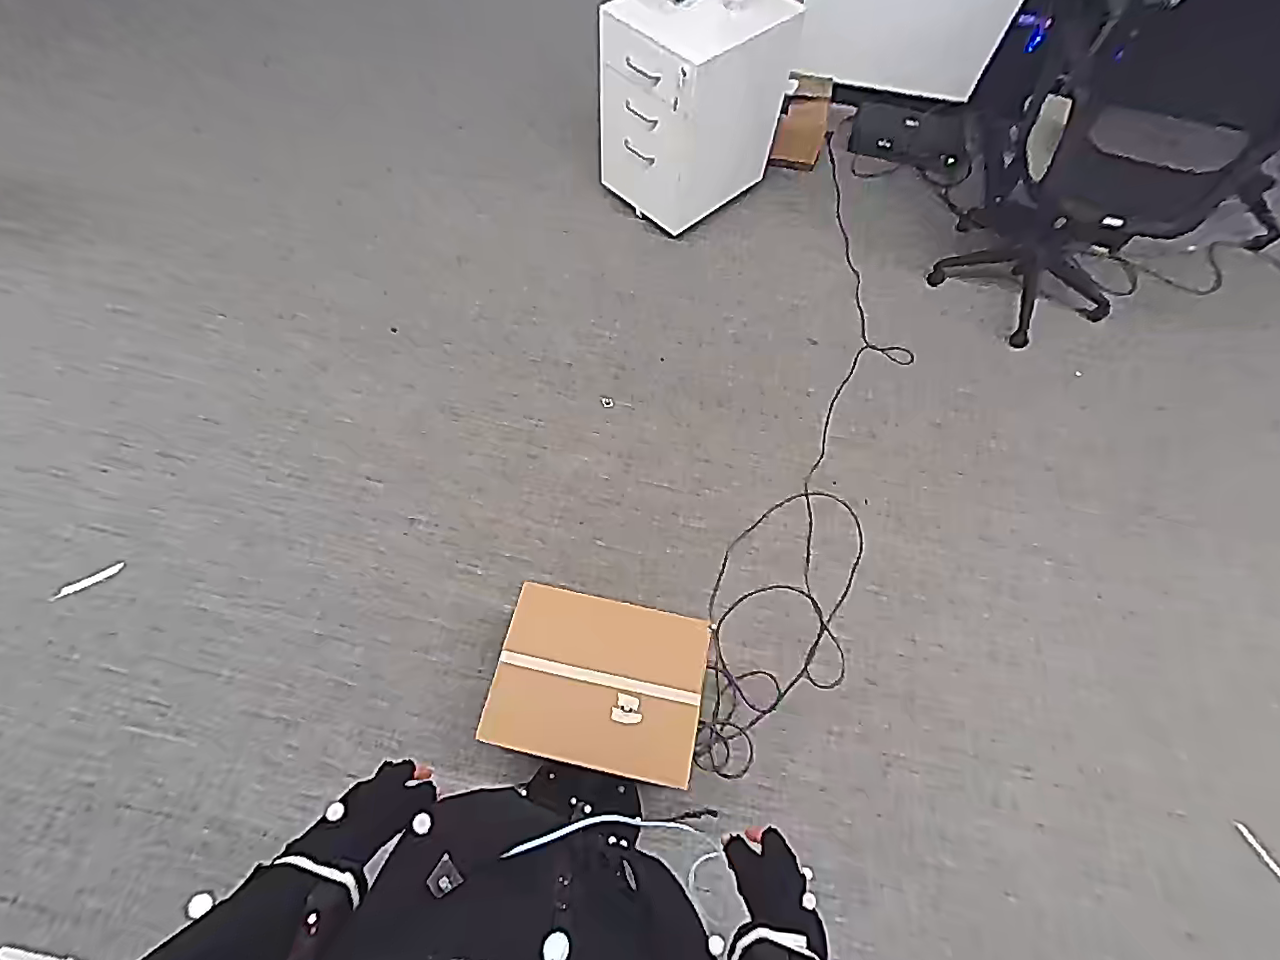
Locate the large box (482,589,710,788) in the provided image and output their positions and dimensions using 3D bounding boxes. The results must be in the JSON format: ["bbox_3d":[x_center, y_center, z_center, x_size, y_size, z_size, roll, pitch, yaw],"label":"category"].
[{"bbox_3d":[-0.085,0.467,1.201,0.408,0.320,0.320,12,63,3],"label":"large box"}]
